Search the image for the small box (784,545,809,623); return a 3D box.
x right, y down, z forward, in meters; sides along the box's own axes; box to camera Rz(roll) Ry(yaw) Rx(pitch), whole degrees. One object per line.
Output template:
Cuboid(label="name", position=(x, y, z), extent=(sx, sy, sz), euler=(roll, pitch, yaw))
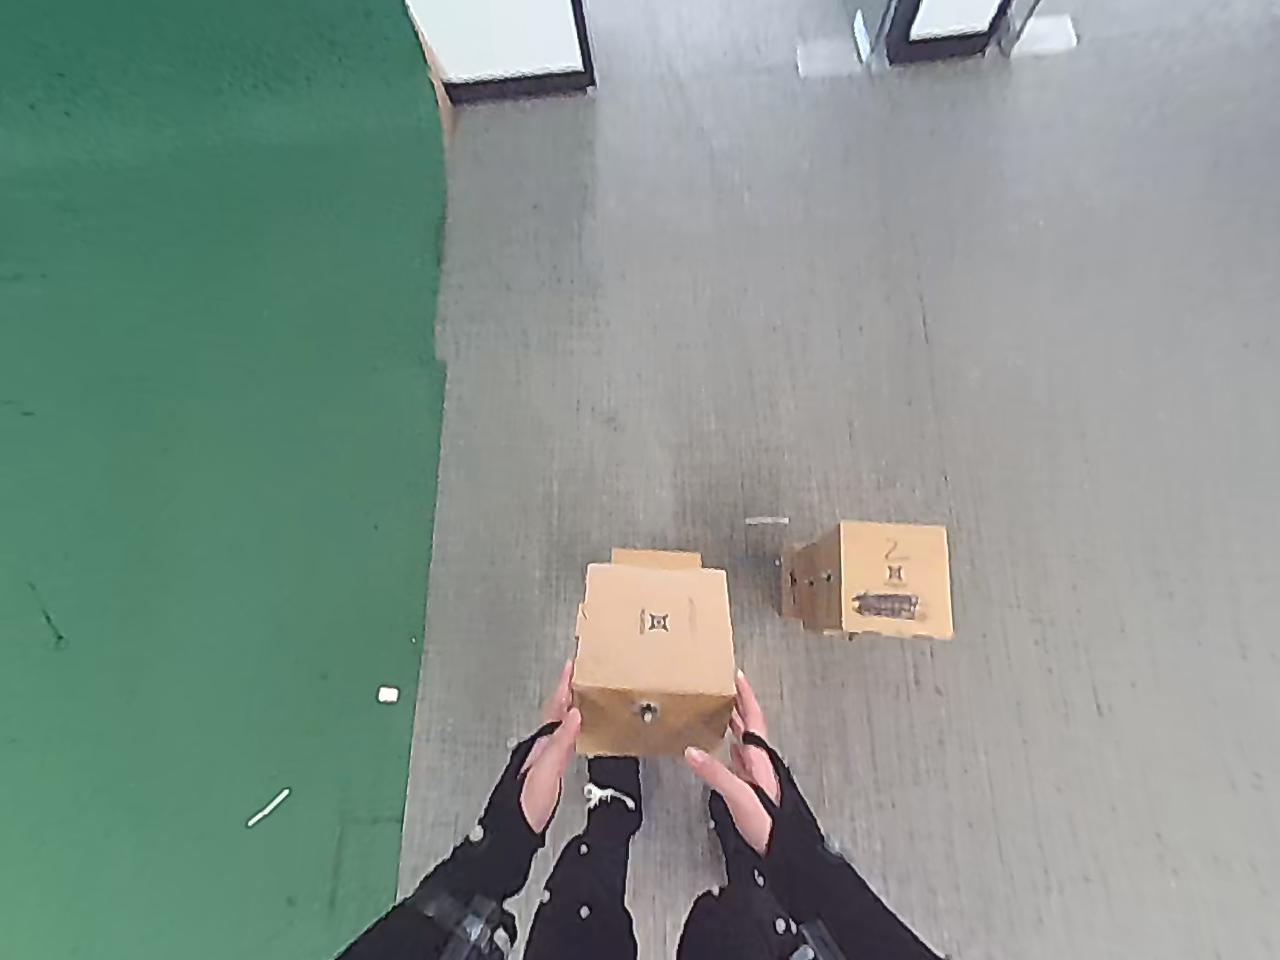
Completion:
Cuboid(label="small box", position=(0.429, 0.243, 1.238), extent=(0.179, 0.176, 0.168), euler=(0, 76, 5))

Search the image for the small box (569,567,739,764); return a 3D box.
Cuboid(label="small box", position=(0.017, 0.225, 0.656), extent=(0.179, 0.176, 0.168), euler=(3, 41, 1))

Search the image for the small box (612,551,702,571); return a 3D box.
Cuboid(label="small box", position=(0.036, 0.242, 1.104), extent=(0.179, 0.176, 0.168), euler=(2, 76, 6))

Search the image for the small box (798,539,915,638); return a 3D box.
Cuboid(label="small box", position=(0.420, 0.217, 1.078), extent=(0.168, 0.176, 0.179), euler=(-4, 75, 4))
